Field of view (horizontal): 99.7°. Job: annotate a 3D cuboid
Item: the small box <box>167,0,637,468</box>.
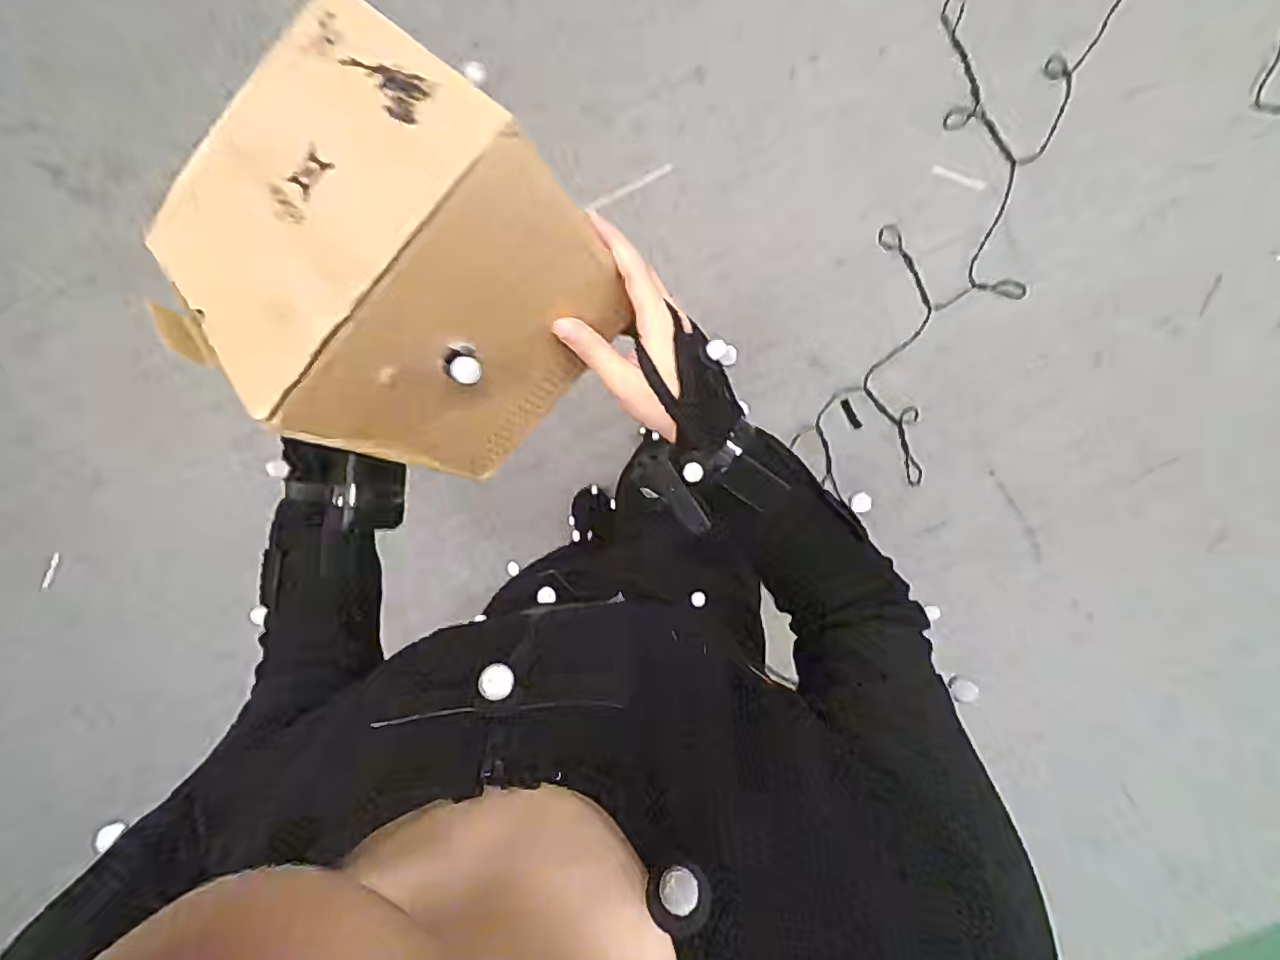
[{"bbox_3d":[-0.130,-0.129,0.340,0.179,0.176,0.168,-47,69,7],"label":"small box"}]
